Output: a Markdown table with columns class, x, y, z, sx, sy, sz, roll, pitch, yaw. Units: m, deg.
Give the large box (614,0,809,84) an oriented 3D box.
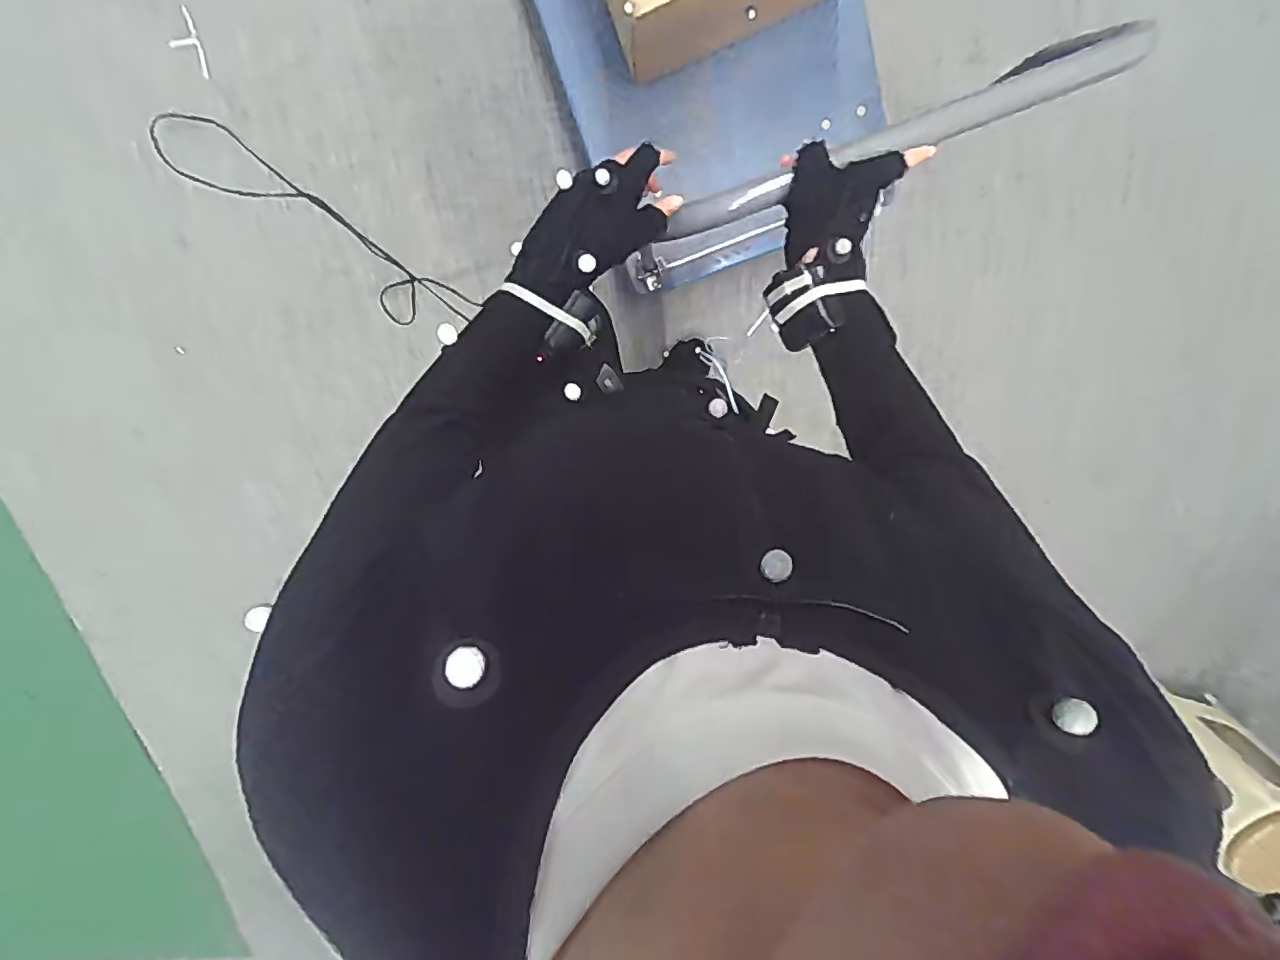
| class | x | y | z | sx | sy | sz | roll | pitch | yaw |
| --- | --- | --- | --- | --- | --- | --- | --- | --- | --- |
| large box | 0.130 | -0.917 | 0.839 | 0.408 | 0.320 | 0.320 | -21 | 108 | 9 |
